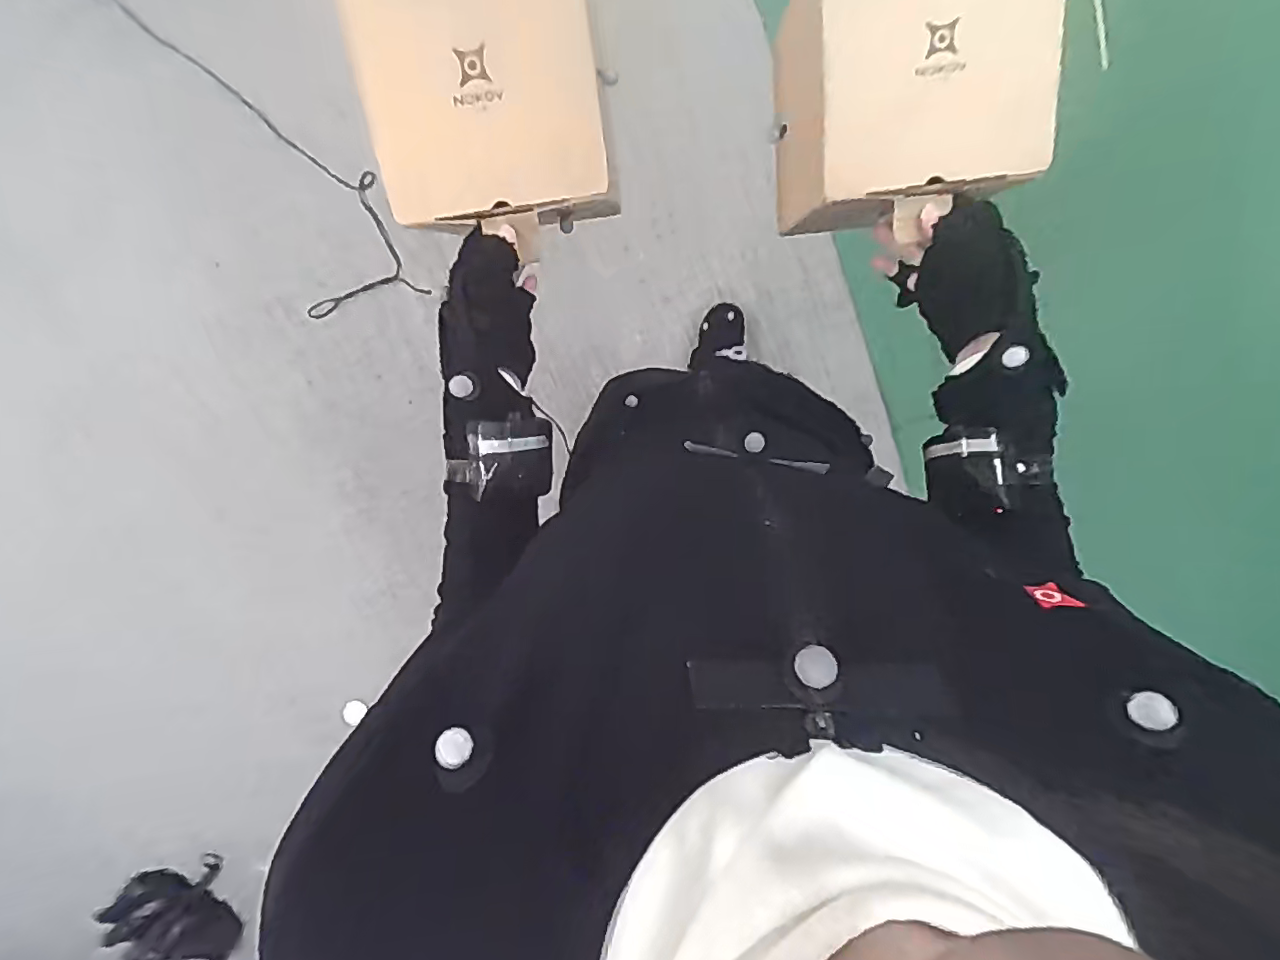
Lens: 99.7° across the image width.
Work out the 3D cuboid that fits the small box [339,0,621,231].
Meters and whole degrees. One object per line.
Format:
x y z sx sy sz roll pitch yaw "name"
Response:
-0.111 -0.312 0.448 0.168 0.176 0.179 -8 110 4 "small box"
